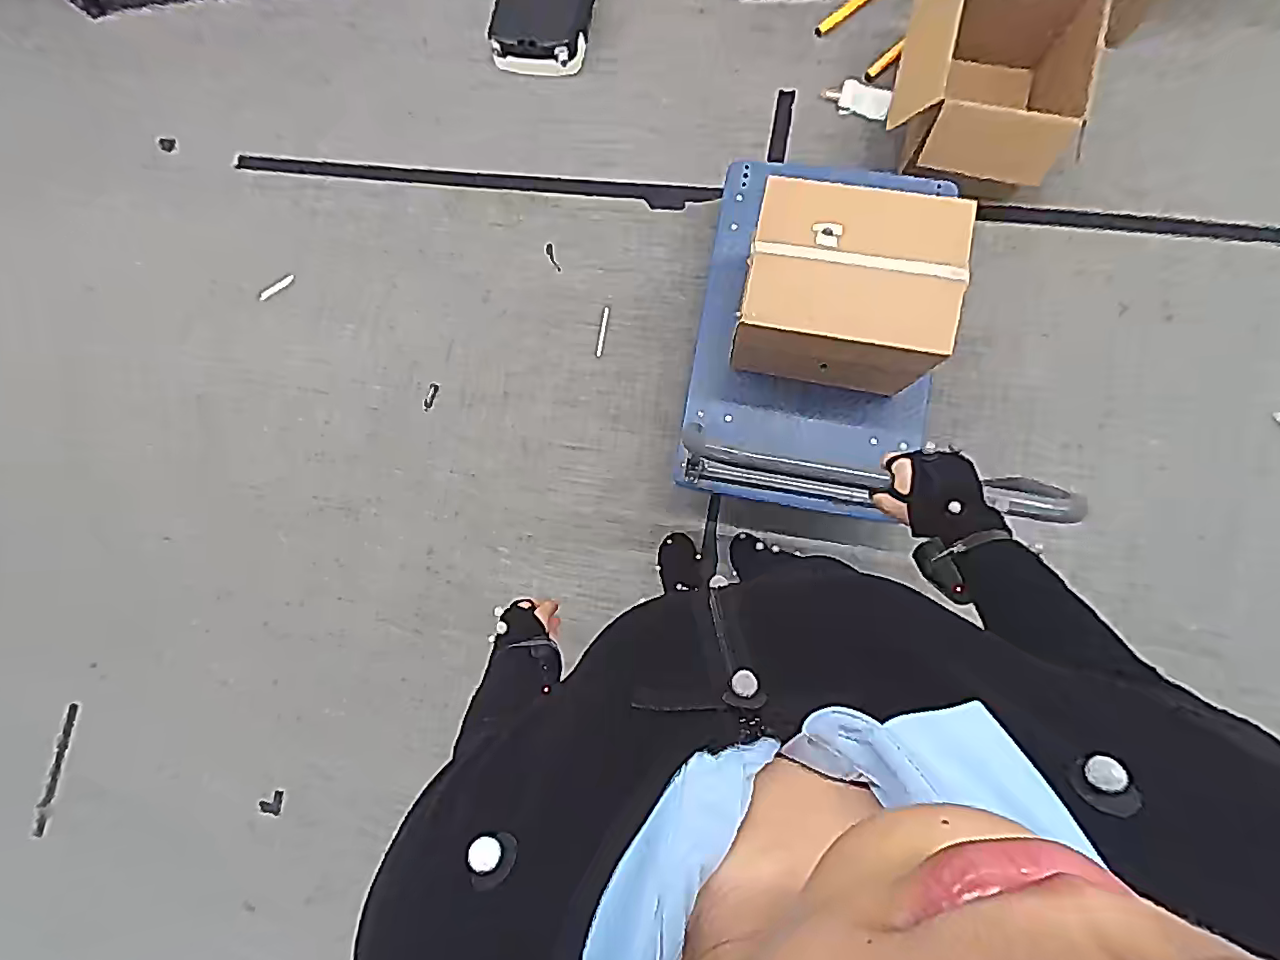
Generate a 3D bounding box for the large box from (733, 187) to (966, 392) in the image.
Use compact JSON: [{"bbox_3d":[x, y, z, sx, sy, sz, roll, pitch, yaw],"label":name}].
[{"bbox_3d":[0.439,-0.406,1.218,0.408,0.320,0.320,10,84,8],"label":"large box"}]
